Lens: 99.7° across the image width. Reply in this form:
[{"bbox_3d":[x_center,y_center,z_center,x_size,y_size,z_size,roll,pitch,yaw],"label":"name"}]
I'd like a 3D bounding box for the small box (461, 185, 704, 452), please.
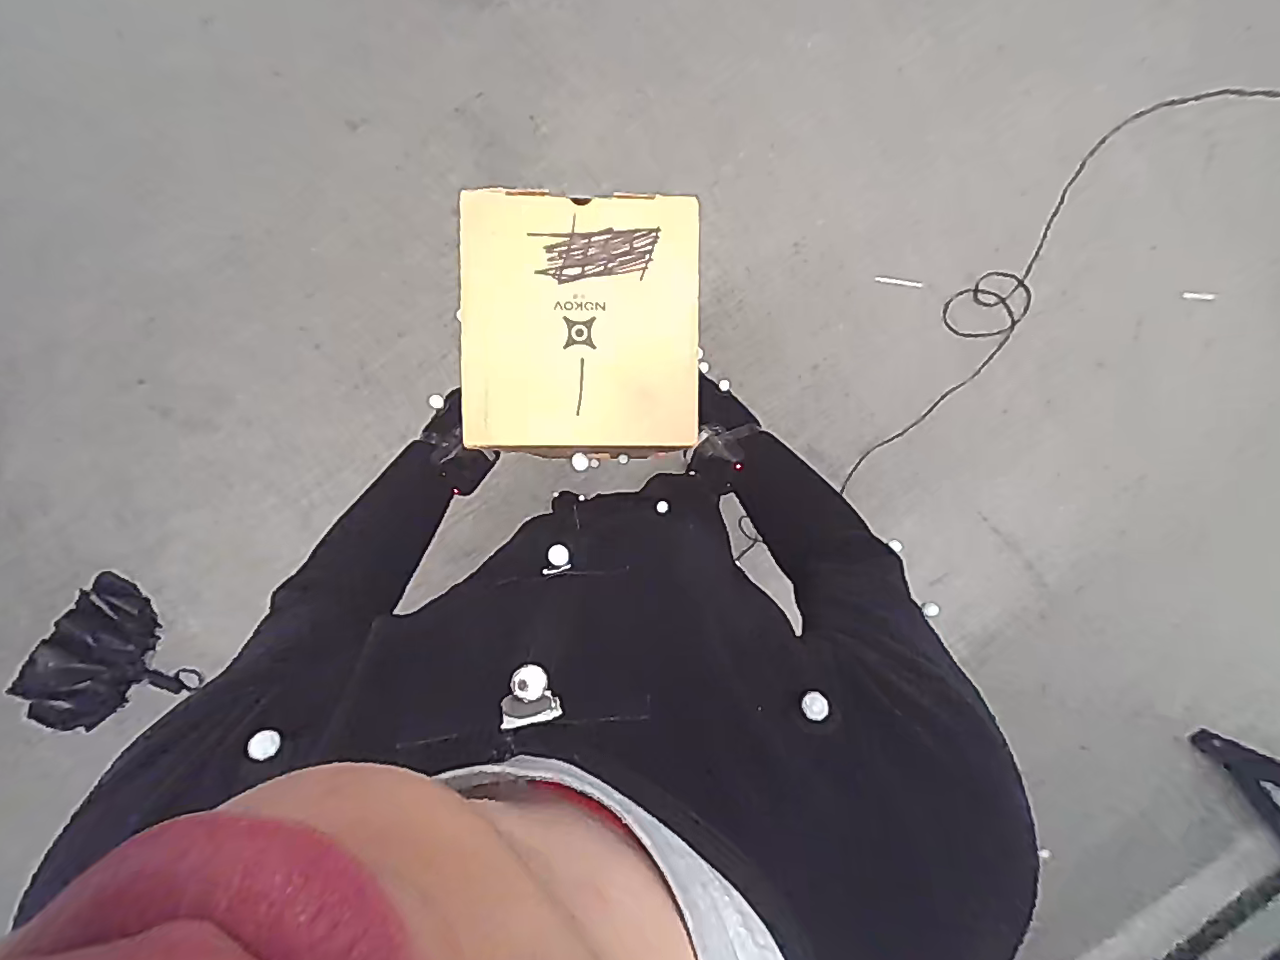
[{"bbox_3d":[-0.044,-0.114,0.451,0.168,0.176,0.179,1,93,-3],"label":"small box"}]
